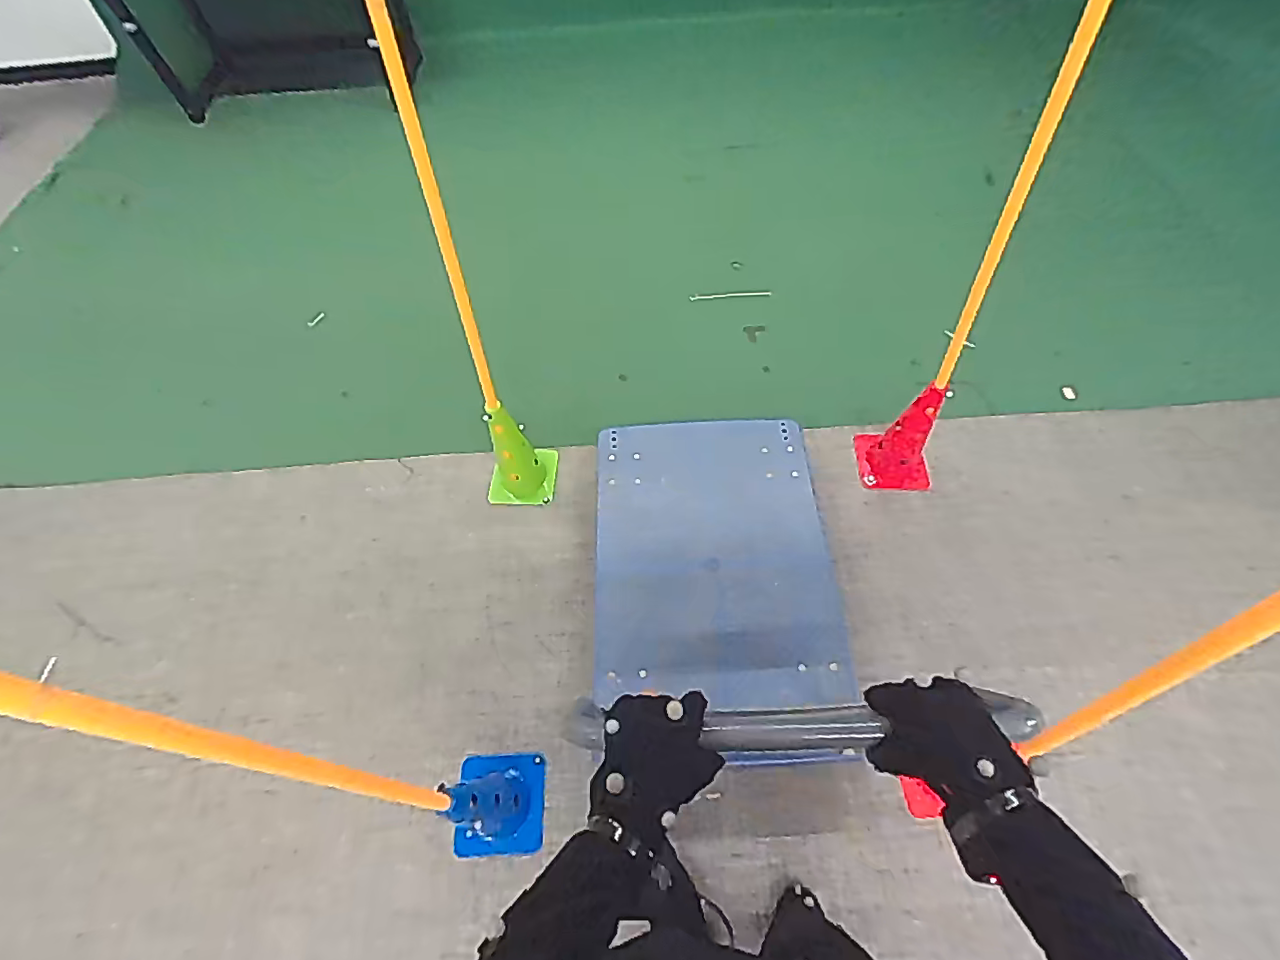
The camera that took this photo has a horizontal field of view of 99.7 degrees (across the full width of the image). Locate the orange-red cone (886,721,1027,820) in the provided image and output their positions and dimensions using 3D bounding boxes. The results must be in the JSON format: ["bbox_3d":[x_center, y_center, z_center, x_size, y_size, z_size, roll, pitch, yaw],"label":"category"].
[{"bbox_3d":[0.672,0.573,1.097,0.199,0.360,0.198,-5,58,2],"label":"orange-red cone"}]

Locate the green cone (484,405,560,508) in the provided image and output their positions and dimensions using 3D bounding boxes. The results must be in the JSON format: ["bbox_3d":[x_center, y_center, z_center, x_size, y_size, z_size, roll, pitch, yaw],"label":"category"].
[{"bbox_3d":[-0.370,-0.091,1.560,0.202,0.368,0.200,0,58,4],"label":"green cone"}]
